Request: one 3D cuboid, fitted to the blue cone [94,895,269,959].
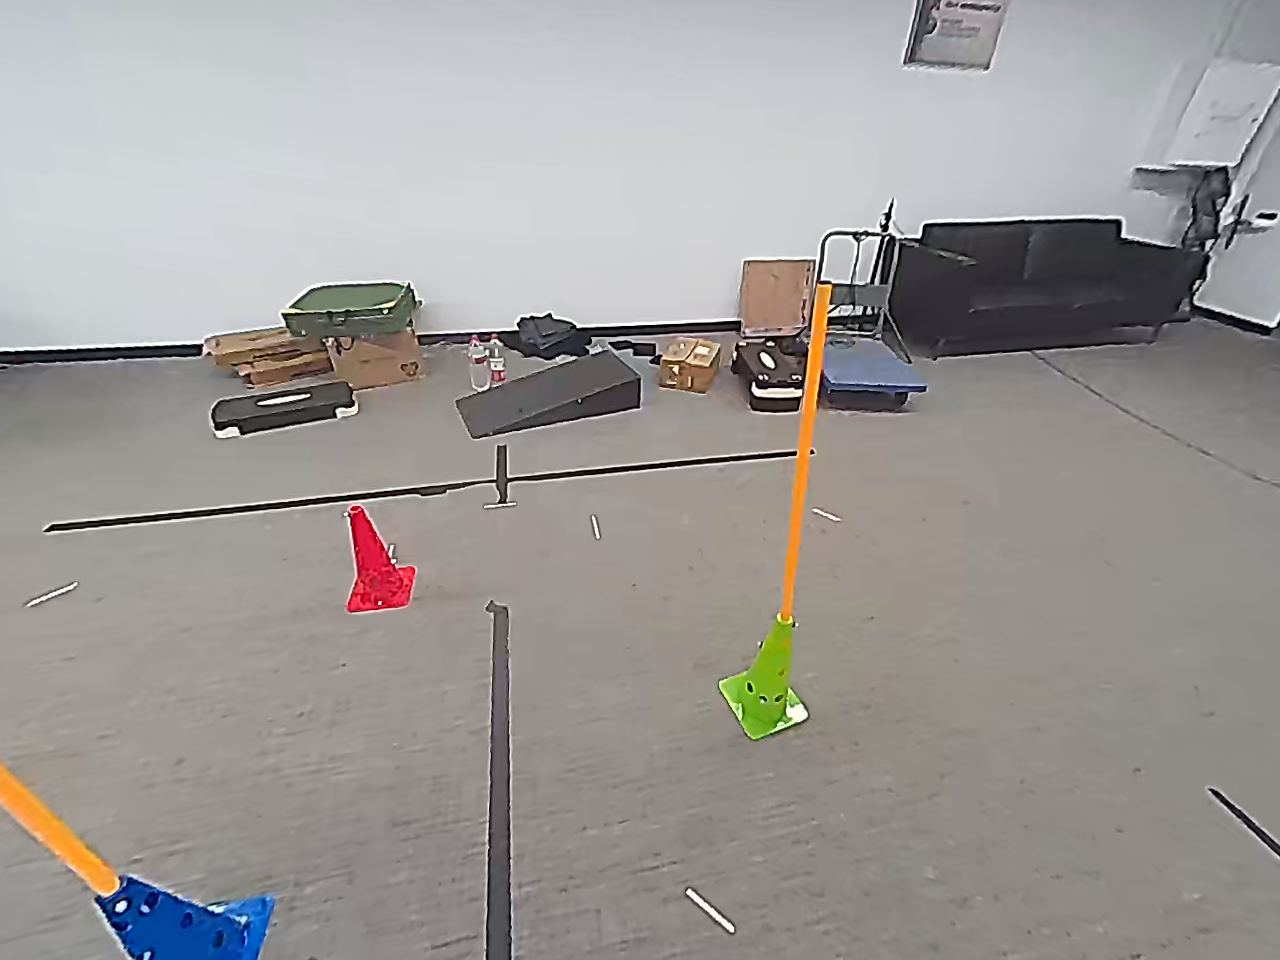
[{"bbox_3d":[-0.847,0.826,0.966,0.193,0.380,0.192,-4,34,-9],"label":"blue cone"}]

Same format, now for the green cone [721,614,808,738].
[{"bbox_3d":[0.370,0.502,1.491,0.200,0.368,0.202,-12,38,-20],"label":"green cone"}]
